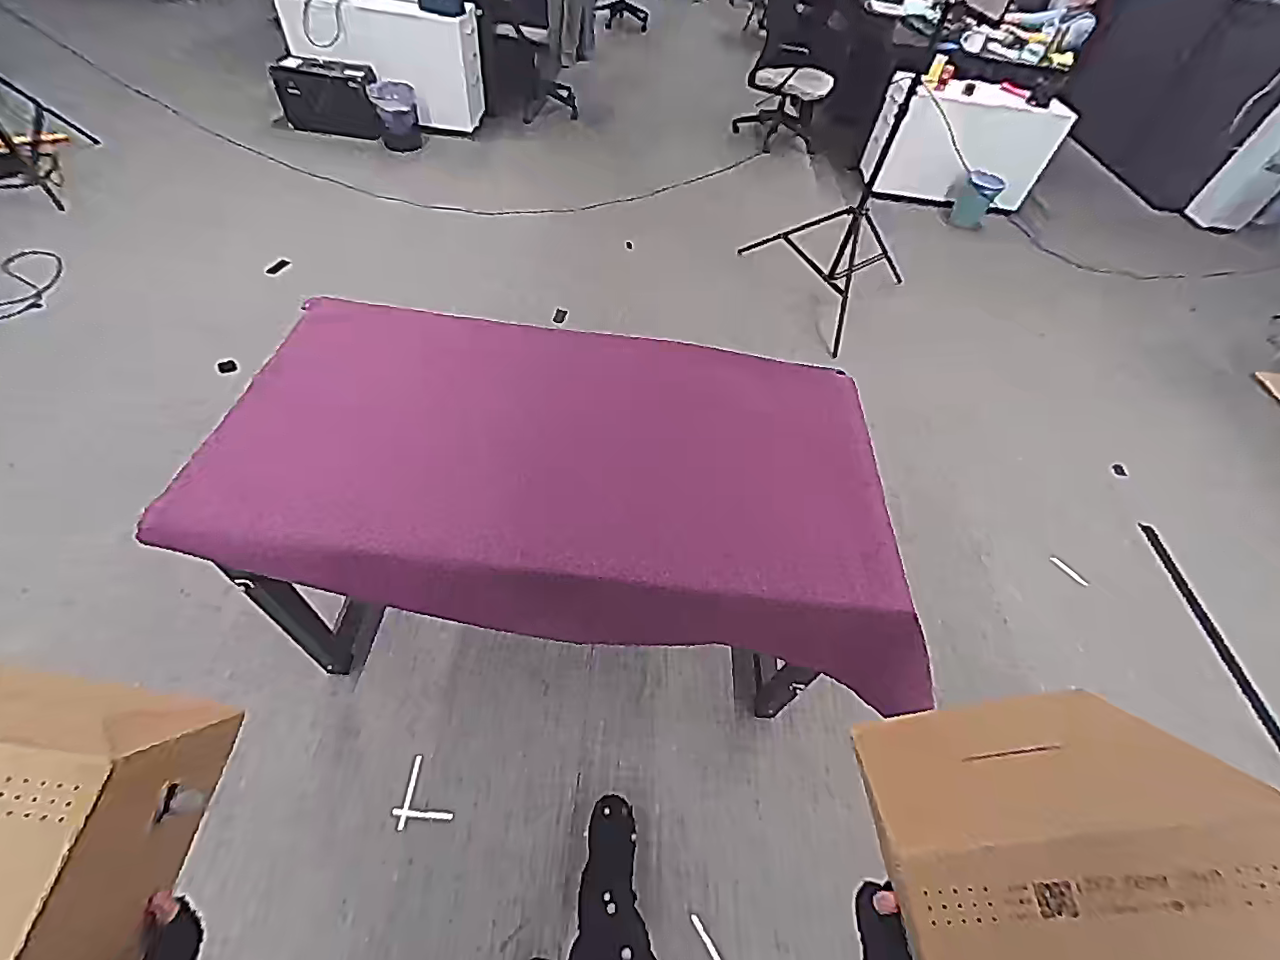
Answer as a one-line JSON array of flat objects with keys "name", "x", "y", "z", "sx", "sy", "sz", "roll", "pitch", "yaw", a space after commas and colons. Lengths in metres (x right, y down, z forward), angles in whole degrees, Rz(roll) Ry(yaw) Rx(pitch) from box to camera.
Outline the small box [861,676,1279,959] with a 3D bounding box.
[{"name": "small box", "x": 0.236, "y": 0.225, "z": 0.300, "sx": 0.168, "sy": 0.179, "sz": 0.176, "roll": -14, "pitch": 82, "yaw": 13}]

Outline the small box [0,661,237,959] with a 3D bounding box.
[{"name": "small box", "x": -0.357, "y": 0.191, "z": 0.276, "sx": 0.168, "sy": 0.179, "sz": 0.176, "roll": 18, "pitch": 70, "yaw": -13}]
